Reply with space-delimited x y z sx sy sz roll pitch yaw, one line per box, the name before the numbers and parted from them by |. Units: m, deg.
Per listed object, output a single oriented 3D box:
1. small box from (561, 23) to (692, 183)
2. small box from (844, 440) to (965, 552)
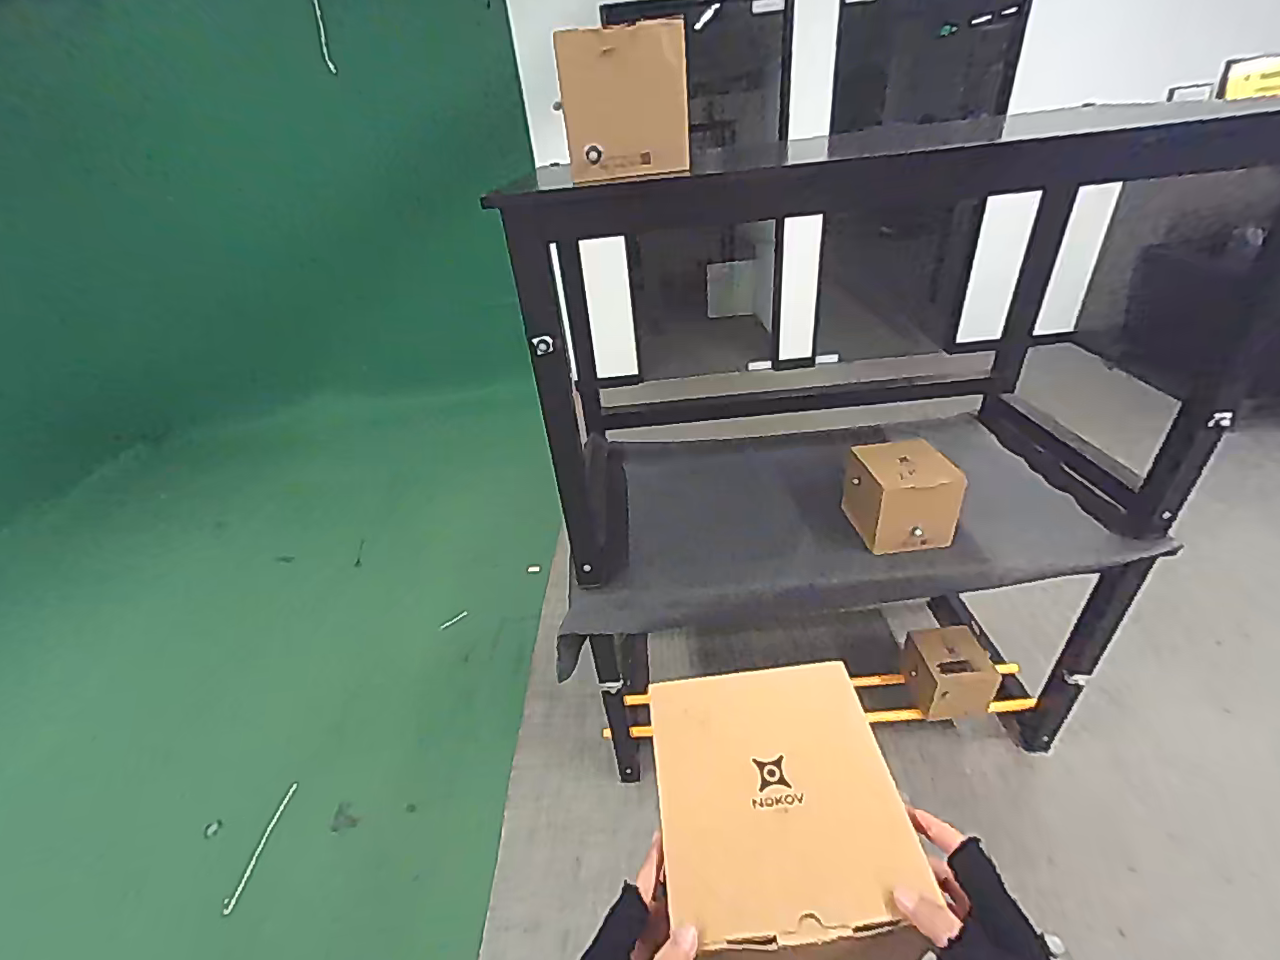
small box | -0.019 -0.538 0.790 0.168 0.176 0.179 -7 32 -3
small box | 0.555 0.033 1.163 0.168 0.176 0.179 -7 32 0
